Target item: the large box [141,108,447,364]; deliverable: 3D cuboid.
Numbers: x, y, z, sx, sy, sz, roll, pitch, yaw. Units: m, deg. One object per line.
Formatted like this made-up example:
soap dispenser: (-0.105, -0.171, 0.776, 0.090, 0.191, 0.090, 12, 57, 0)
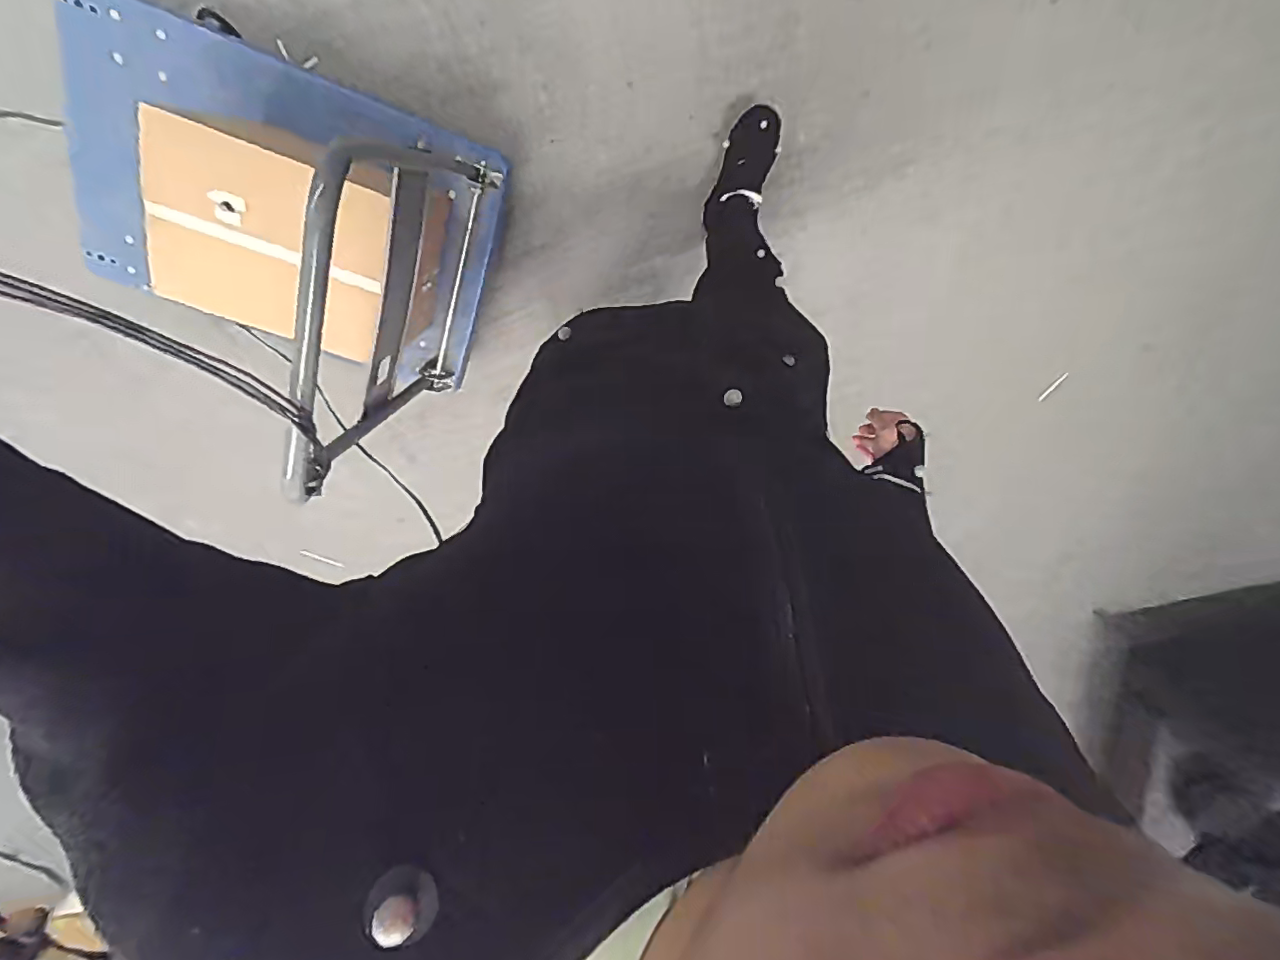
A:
large box: (-0.650, -0.478, 1.081, 0.408, 0.320, 0.320, 18, 117, -9)
